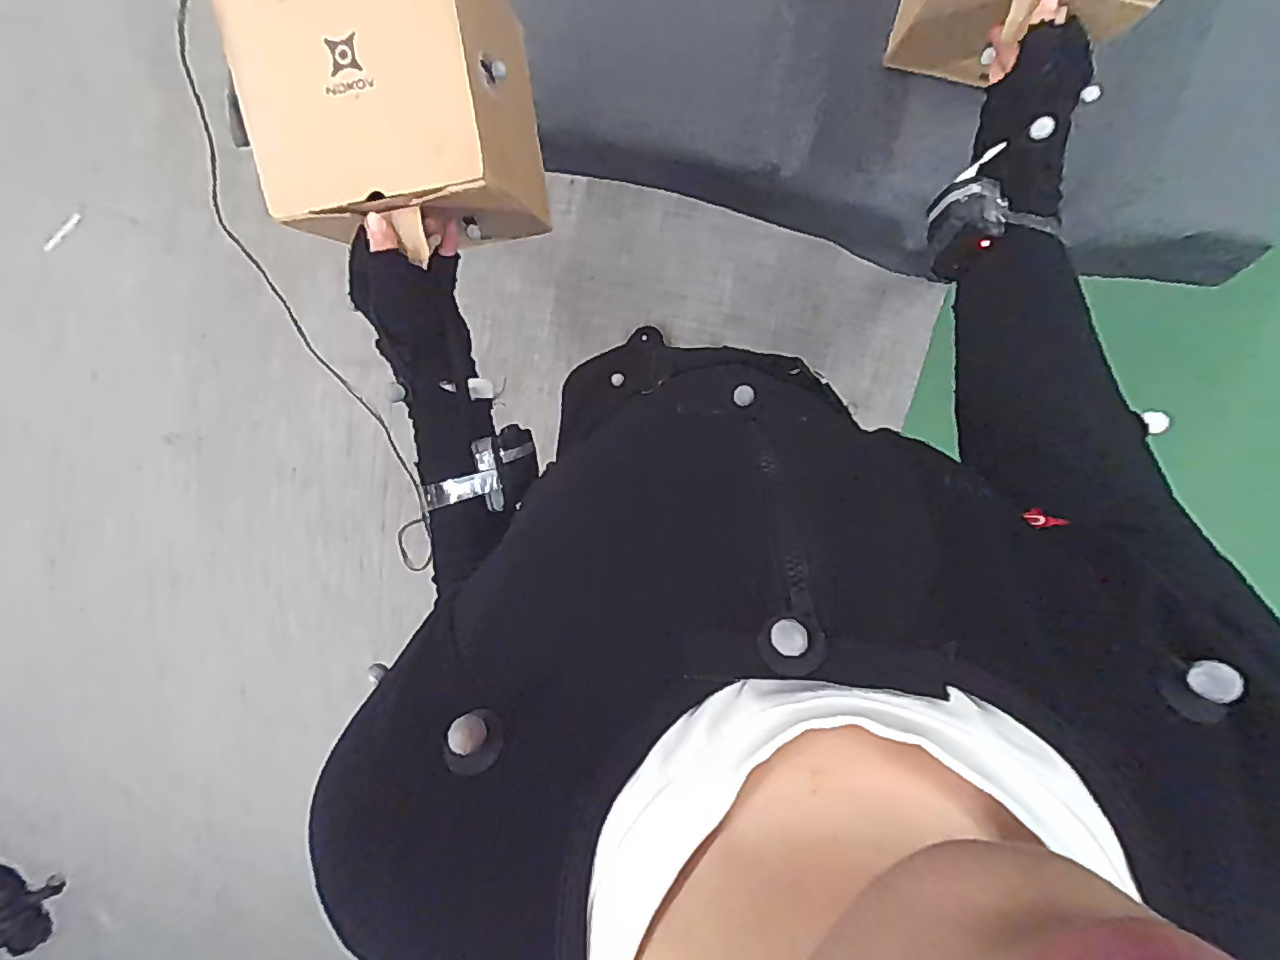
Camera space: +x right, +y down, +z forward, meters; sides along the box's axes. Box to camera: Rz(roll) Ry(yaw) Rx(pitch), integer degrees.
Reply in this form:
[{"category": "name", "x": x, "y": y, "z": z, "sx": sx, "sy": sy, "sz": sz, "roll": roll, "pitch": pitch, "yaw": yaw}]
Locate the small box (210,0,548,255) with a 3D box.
[{"category": "small box", "x": -0.183, "y": -0.289, "z": 0.431, "sx": 0.168, "sy": 0.176, "sz": 0.179, "roll": -7, "pitch": 102, "yaw": 8}]
